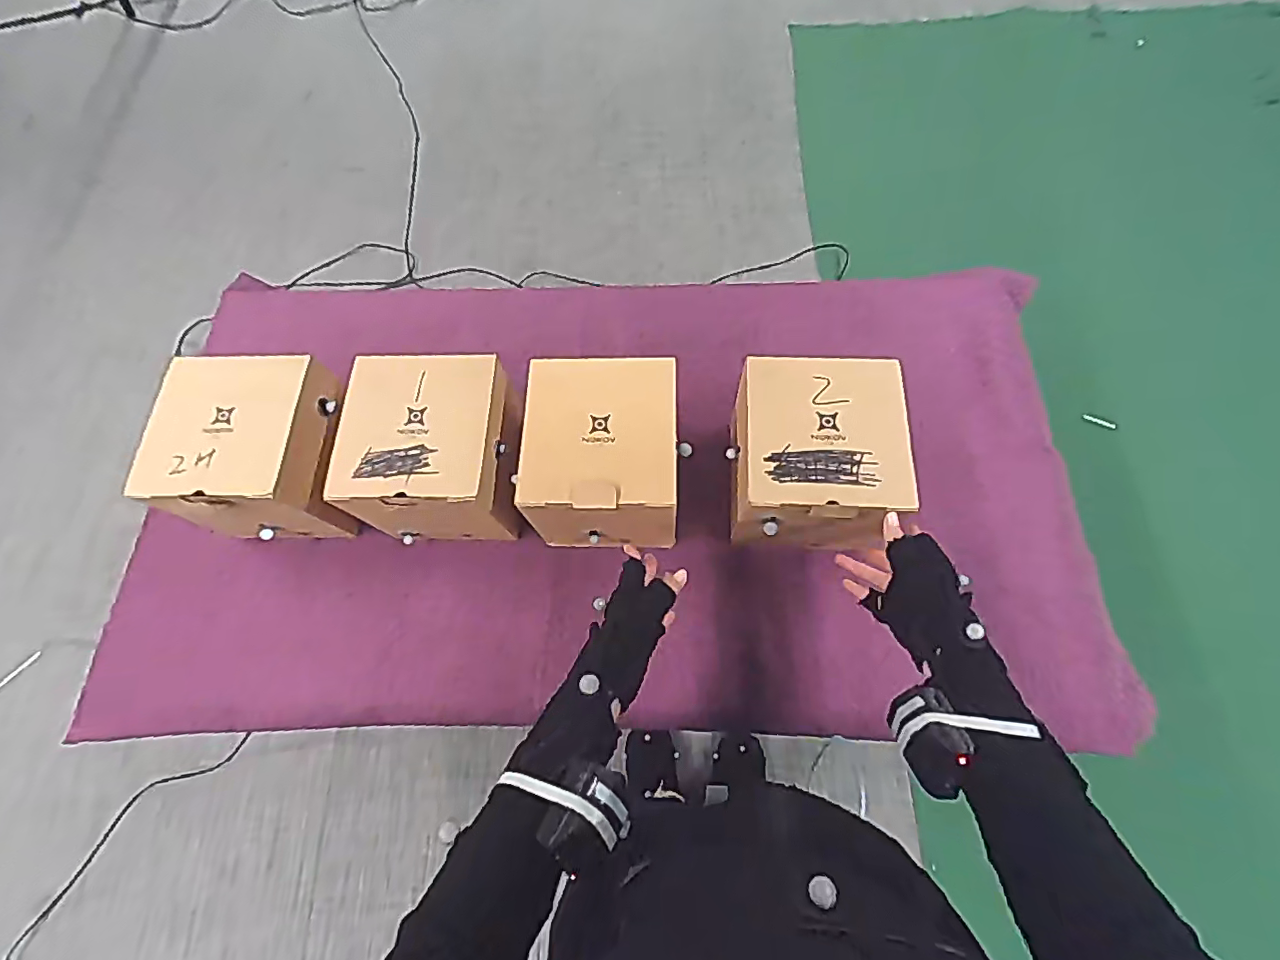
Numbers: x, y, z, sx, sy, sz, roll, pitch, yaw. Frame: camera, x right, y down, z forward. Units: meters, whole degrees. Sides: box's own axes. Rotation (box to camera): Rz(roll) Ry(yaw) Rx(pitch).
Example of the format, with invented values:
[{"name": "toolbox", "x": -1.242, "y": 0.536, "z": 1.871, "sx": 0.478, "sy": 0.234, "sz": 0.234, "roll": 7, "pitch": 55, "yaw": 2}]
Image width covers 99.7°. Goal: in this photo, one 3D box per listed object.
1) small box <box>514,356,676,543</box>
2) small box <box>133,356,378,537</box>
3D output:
[{"name": "small box", "x": -0.041, "y": -0.030, "z": 0.654, "sx": 0.168, "sy": 0.176, "sz": 0.179, "roll": -1, "pitch": 70, "yaw": 5}, {"name": "small box", "x": -0.455, "y": -0.035, "z": 0.676, "sx": 0.168, "sy": 0.176, "sz": 0.179, "roll": -1, "pitch": 70, "yaw": 3}]
